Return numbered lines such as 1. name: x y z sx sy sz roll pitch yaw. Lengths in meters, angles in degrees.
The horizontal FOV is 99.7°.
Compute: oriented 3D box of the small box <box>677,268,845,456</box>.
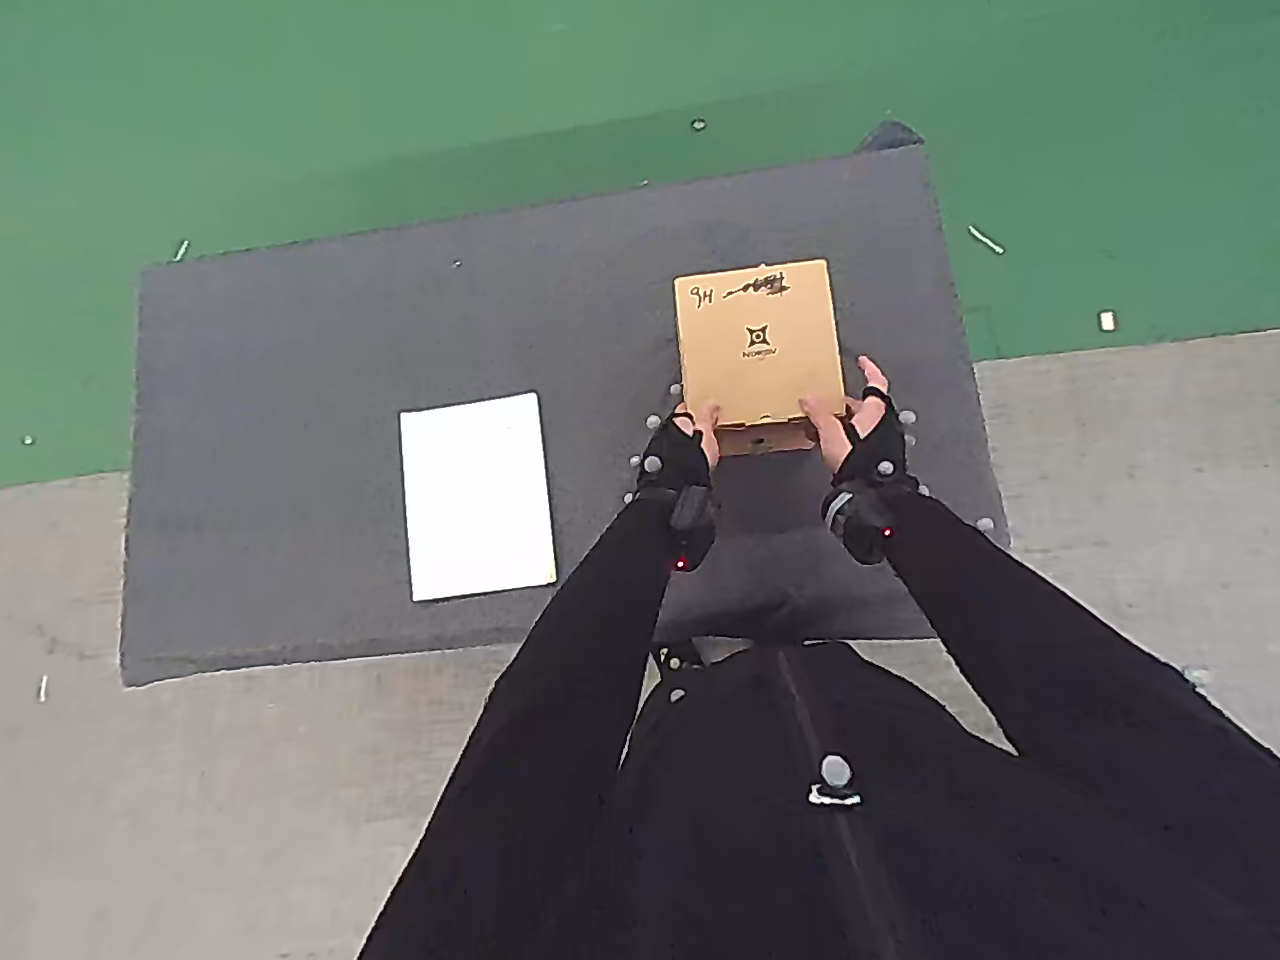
1. small box: 0.136 -0.127 0.657 0.168 0.176 0.179 -5 83 5
